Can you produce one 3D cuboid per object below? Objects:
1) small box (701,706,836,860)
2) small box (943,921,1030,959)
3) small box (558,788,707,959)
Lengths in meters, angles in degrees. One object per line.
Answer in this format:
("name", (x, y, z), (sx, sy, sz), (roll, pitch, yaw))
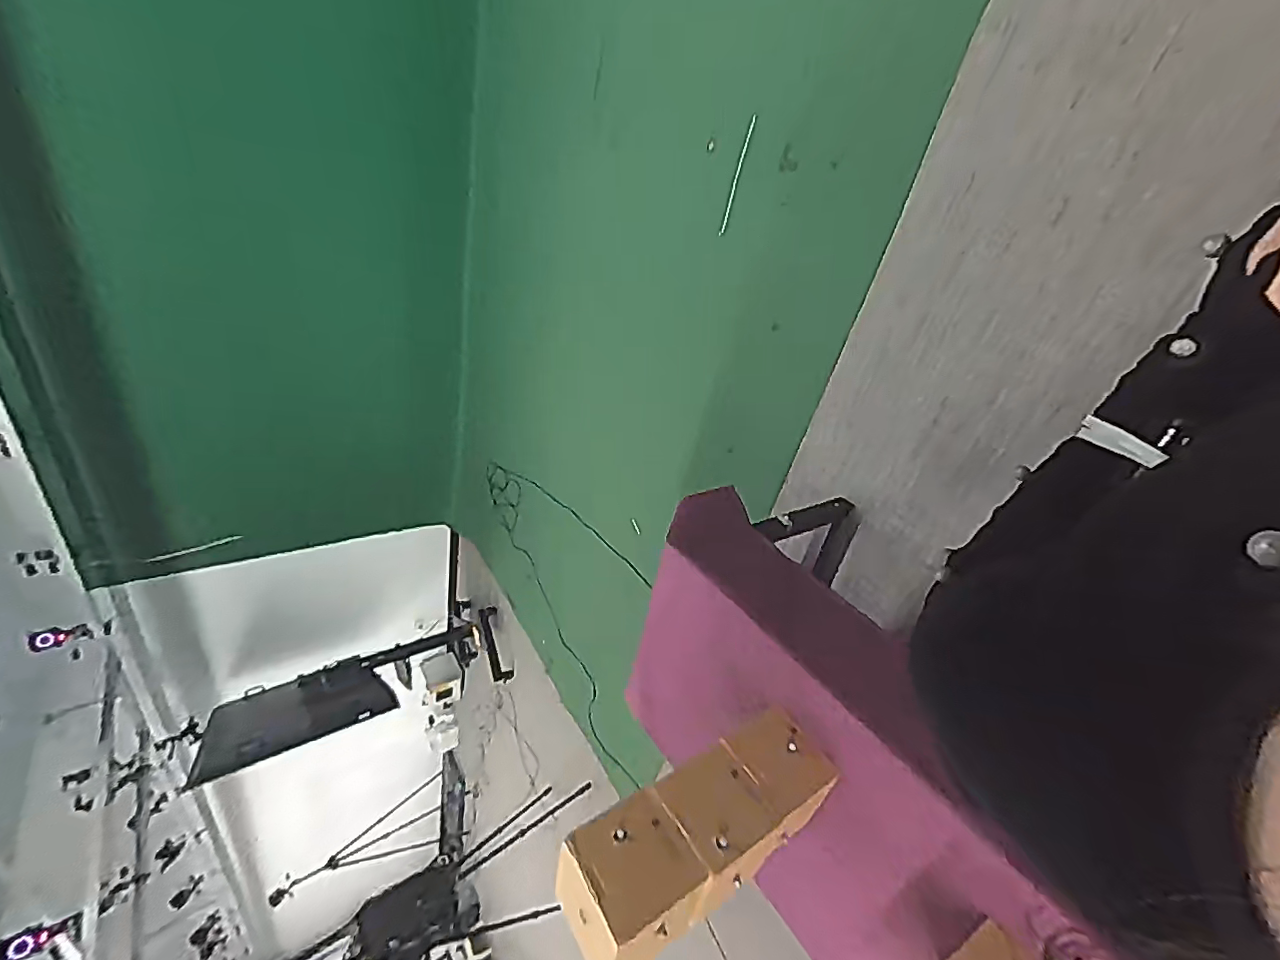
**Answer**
("small box", (0.251, 0.584, 1.058), (0.168, 0.176, 0.179), (43, 132, 39))
("small box", (0.499, 0.785, 0.764), (0.168, 0.176, 0.179), (40, 131, 42))
("small box", (-0.014, 0.645, 0.874), (0.168, 0.176, 0.179), (41, 131, 42))
